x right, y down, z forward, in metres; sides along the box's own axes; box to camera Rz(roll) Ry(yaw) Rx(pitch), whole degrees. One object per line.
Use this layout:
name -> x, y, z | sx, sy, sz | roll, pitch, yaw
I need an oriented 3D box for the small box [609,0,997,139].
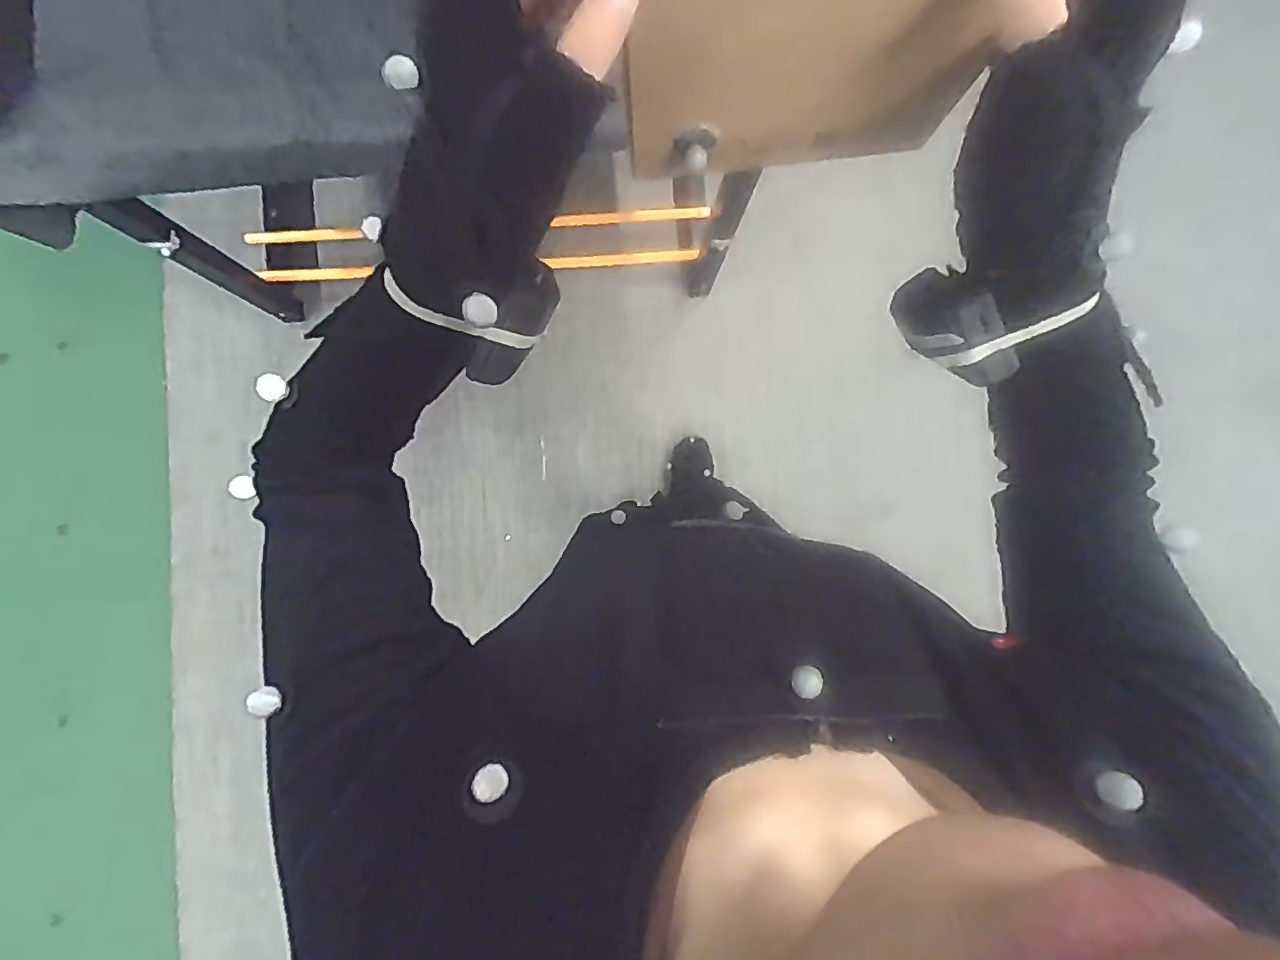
small box -> 0.065, -0.272, 0.221 | 0.168, 0.176, 0.179 | -5, 88, 1
